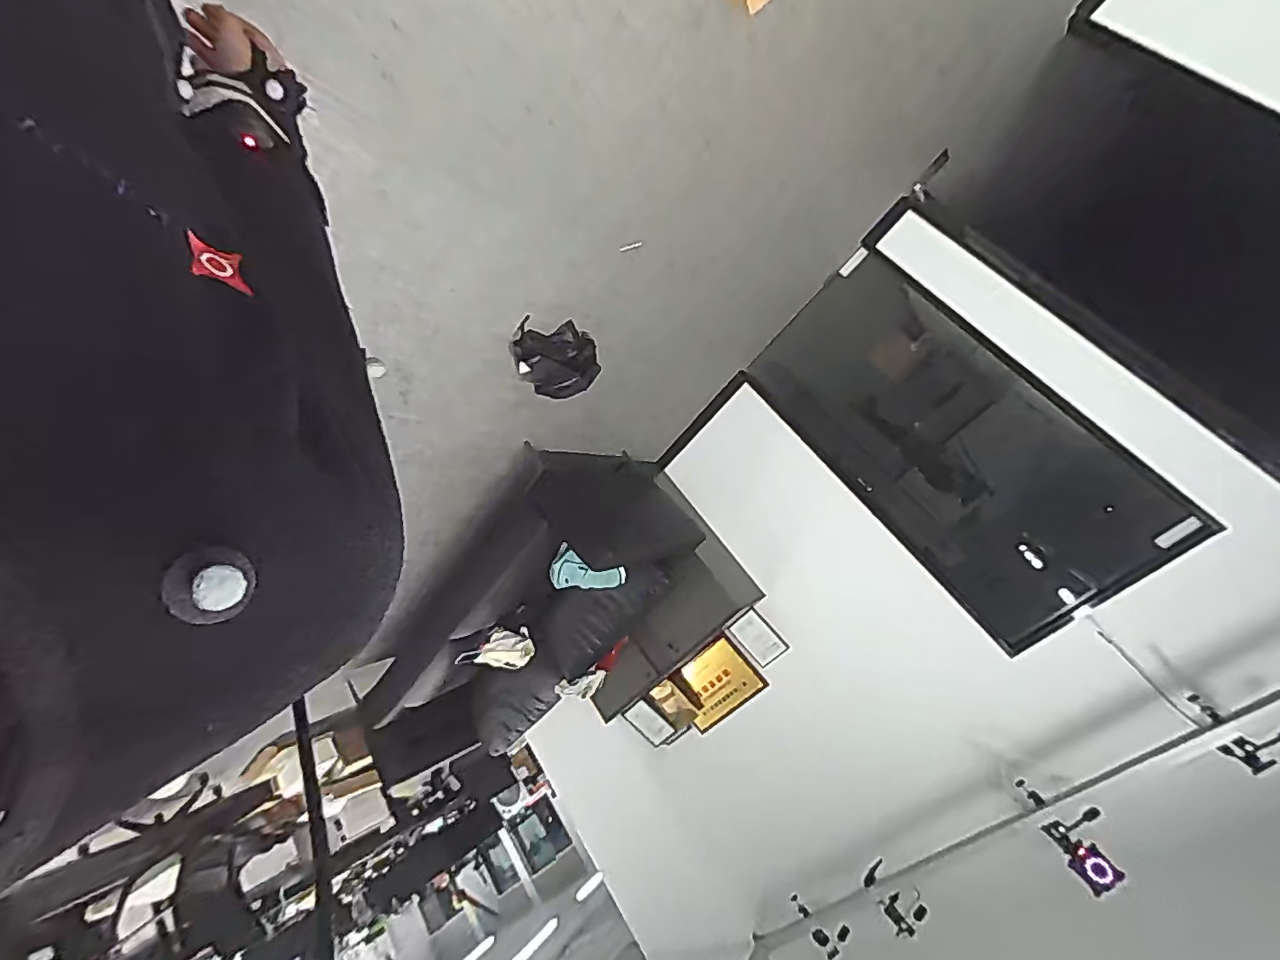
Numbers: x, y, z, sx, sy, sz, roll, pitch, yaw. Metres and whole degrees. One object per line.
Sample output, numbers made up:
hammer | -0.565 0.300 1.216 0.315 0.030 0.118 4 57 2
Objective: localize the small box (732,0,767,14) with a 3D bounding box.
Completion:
small box | 0.260 -1.263 1.258 0.168 0.176 0.179 -39 159 6
